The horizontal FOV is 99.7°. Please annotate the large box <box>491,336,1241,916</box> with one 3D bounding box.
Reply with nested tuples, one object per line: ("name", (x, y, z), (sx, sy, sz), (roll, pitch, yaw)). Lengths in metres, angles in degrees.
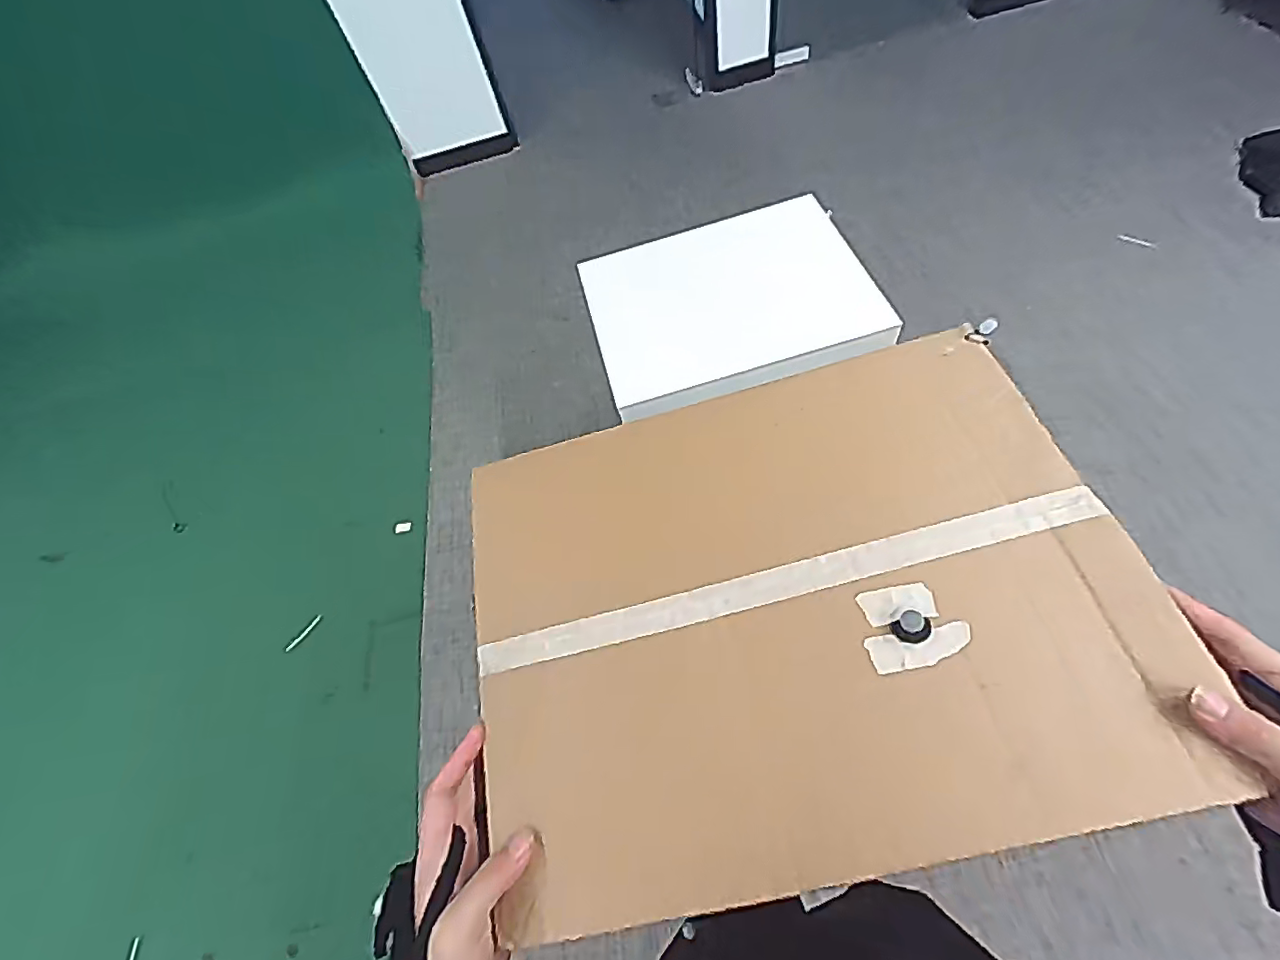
("large box", (0.120, 0.135, 0.493), (0.408, 0.320, 0.320), (-15, 61, 4))
